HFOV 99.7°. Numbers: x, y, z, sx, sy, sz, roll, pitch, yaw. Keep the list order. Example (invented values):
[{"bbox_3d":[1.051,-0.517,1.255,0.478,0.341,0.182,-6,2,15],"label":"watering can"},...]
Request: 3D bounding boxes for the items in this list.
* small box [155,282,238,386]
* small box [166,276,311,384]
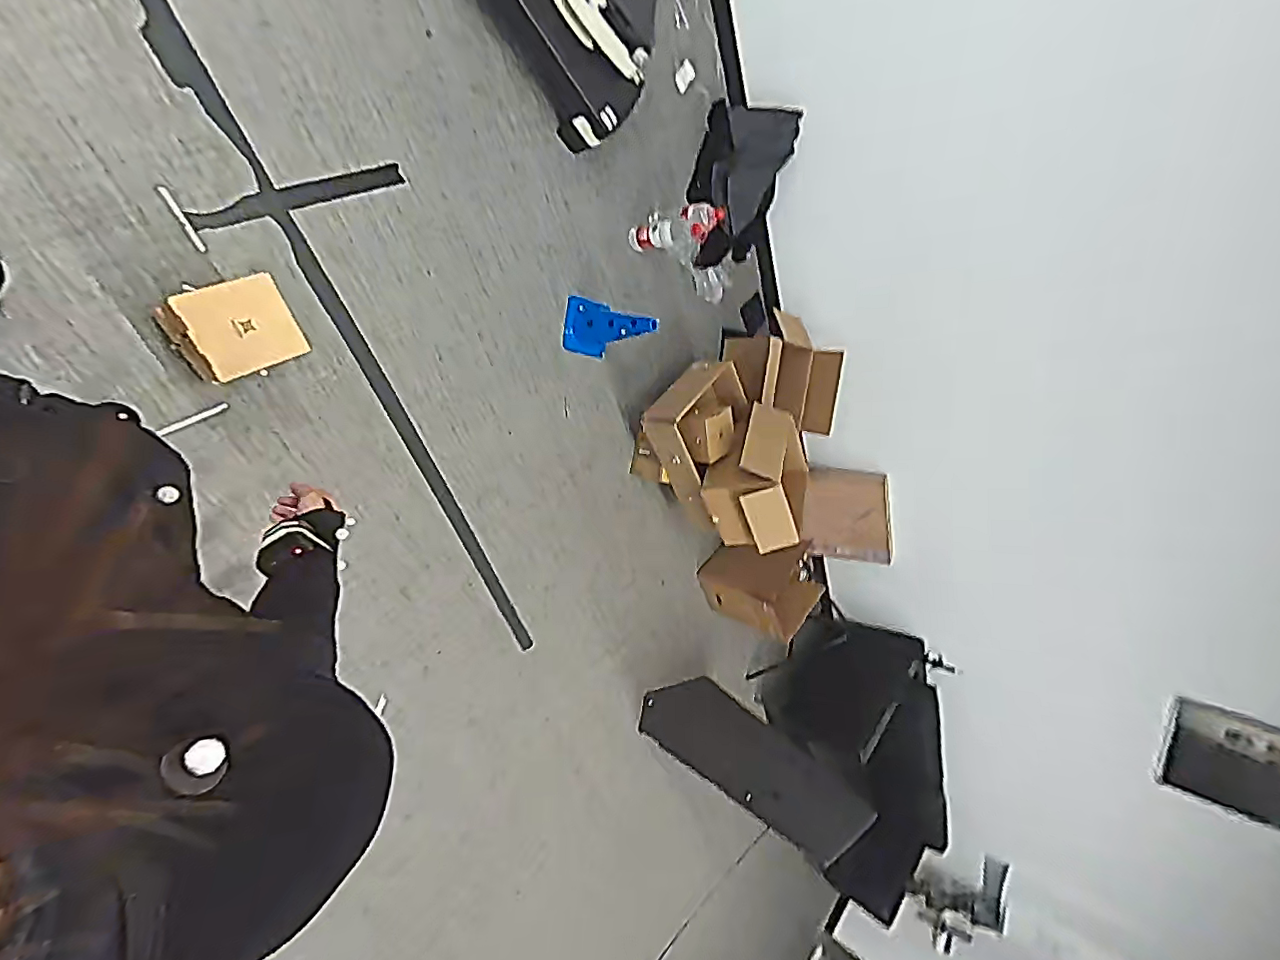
[{"bbox_3d":[-0.943,-0.330,1.220,0.168,0.176,0.179,-40,124,-31],"label":"small box"},{"bbox_3d":[-0.824,-0.310,1.110,0.179,0.176,0.168,-35,123,-32],"label":"small box"}]
